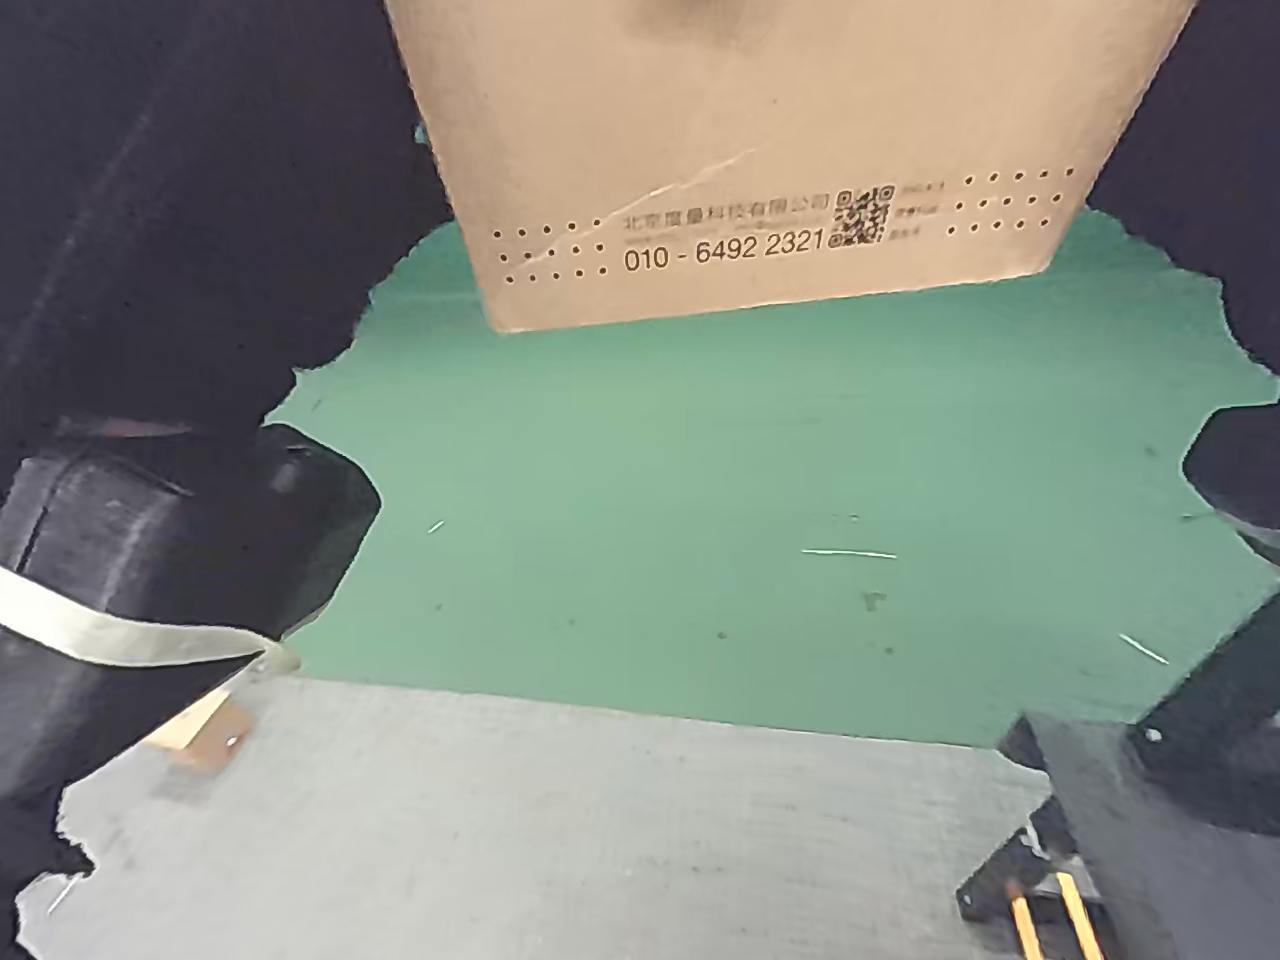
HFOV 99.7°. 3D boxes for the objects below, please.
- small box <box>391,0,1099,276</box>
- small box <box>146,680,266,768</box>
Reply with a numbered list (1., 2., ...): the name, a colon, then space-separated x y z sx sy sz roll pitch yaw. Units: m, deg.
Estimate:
1. small box: 0.020 -0.175 0.156 0.168 0.176 0.179 -7 51 0
2. small box: -1.251 0.711 1.572 0.179 0.176 0.168 5 41 13
